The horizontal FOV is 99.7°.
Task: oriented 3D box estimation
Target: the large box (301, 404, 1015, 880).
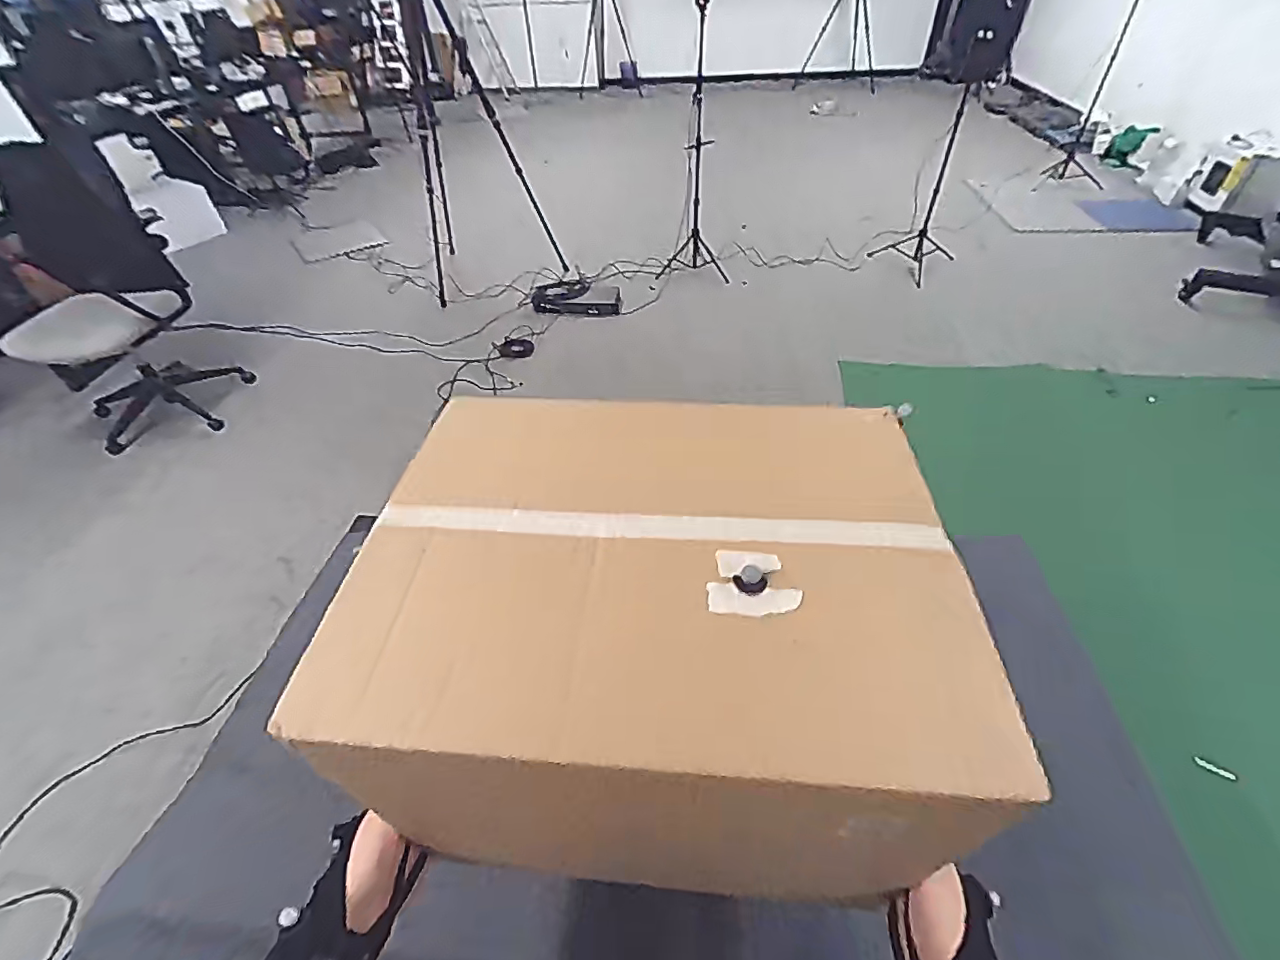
[{"bbox_3d":[0.015,0.144,0.504,0.408,0.320,0.320,2,46,5],"label":"large box"}]
